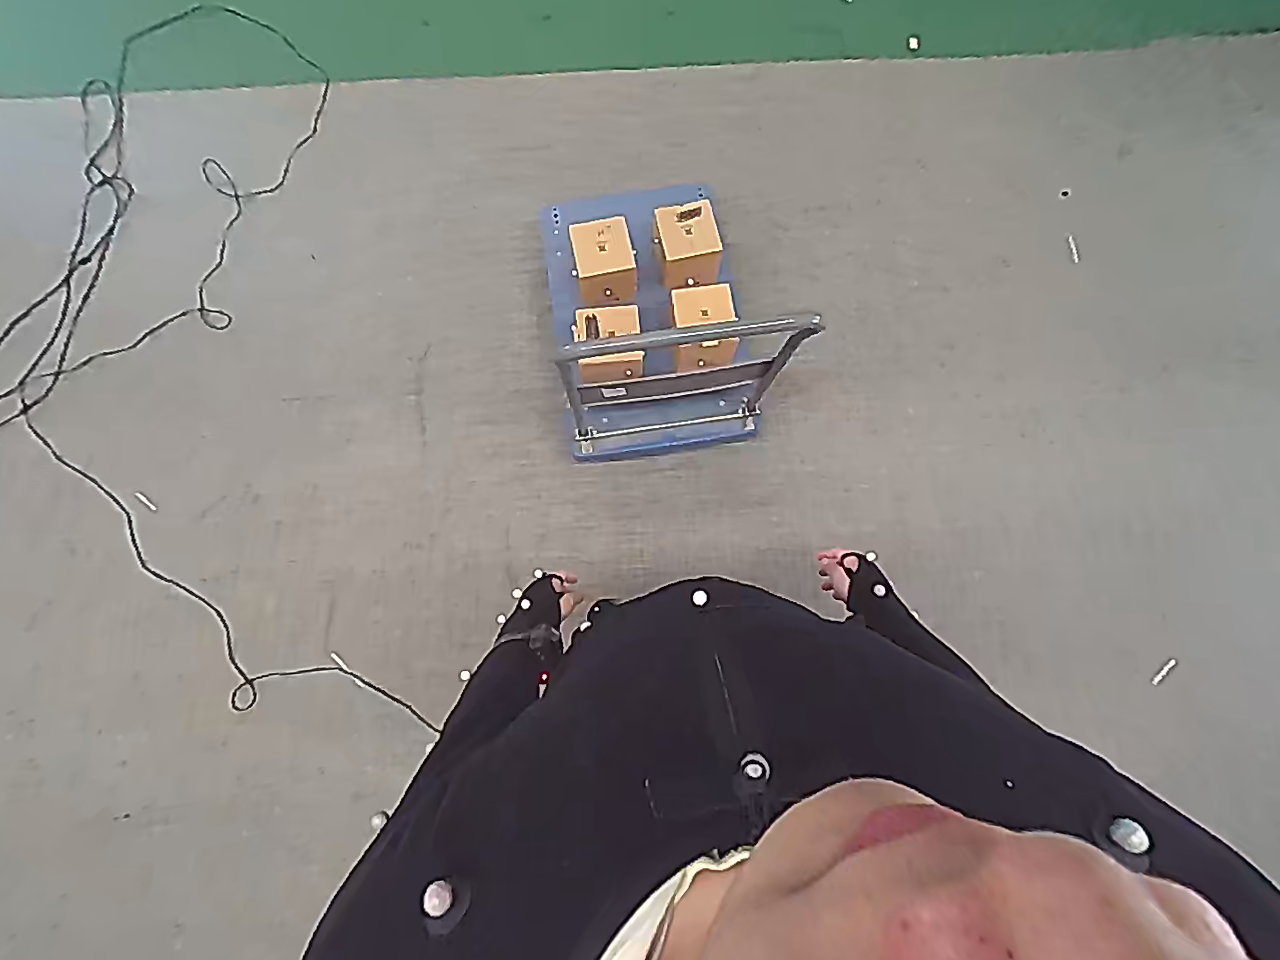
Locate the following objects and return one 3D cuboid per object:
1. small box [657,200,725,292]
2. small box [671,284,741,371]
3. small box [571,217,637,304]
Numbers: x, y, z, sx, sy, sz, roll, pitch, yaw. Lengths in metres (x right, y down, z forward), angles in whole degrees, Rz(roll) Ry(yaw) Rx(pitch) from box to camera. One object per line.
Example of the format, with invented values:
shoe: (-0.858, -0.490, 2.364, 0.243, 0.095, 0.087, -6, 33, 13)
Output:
small box: (0.145, -0.697, 1.619, 0.168, 0.176, 0.179, -12, 78, -1)
small box: (0.185, -0.435, 1.562, 0.168, 0.176, 0.179, -7, 78, -1)
small box: (-0.102, -0.643, 1.610, 0.168, 0.176, 0.179, -11, 77, -3)
